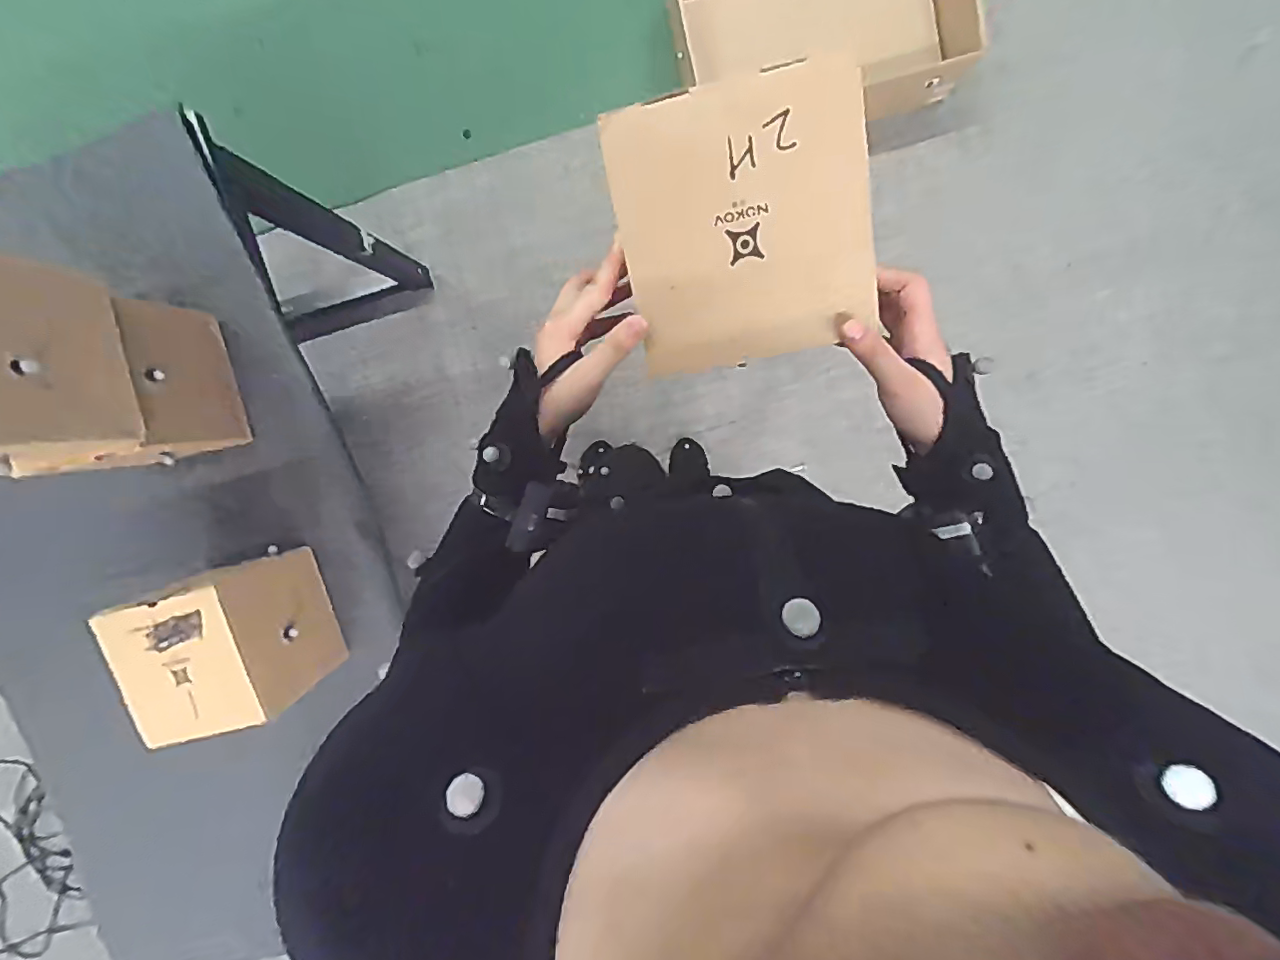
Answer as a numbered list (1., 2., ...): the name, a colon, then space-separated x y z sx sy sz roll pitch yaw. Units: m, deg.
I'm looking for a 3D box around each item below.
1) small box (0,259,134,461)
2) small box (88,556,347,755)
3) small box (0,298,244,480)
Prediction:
1. small box: -0.623 -0.103 0.489 0.168 0.176 0.179 -9 98 3
2. small box: -0.520 0.209 0.693 0.168 0.176 0.179 -15 99 5
3. small box: -0.630 -0.110 0.654 0.168 0.176 0.179 -12 96 3
